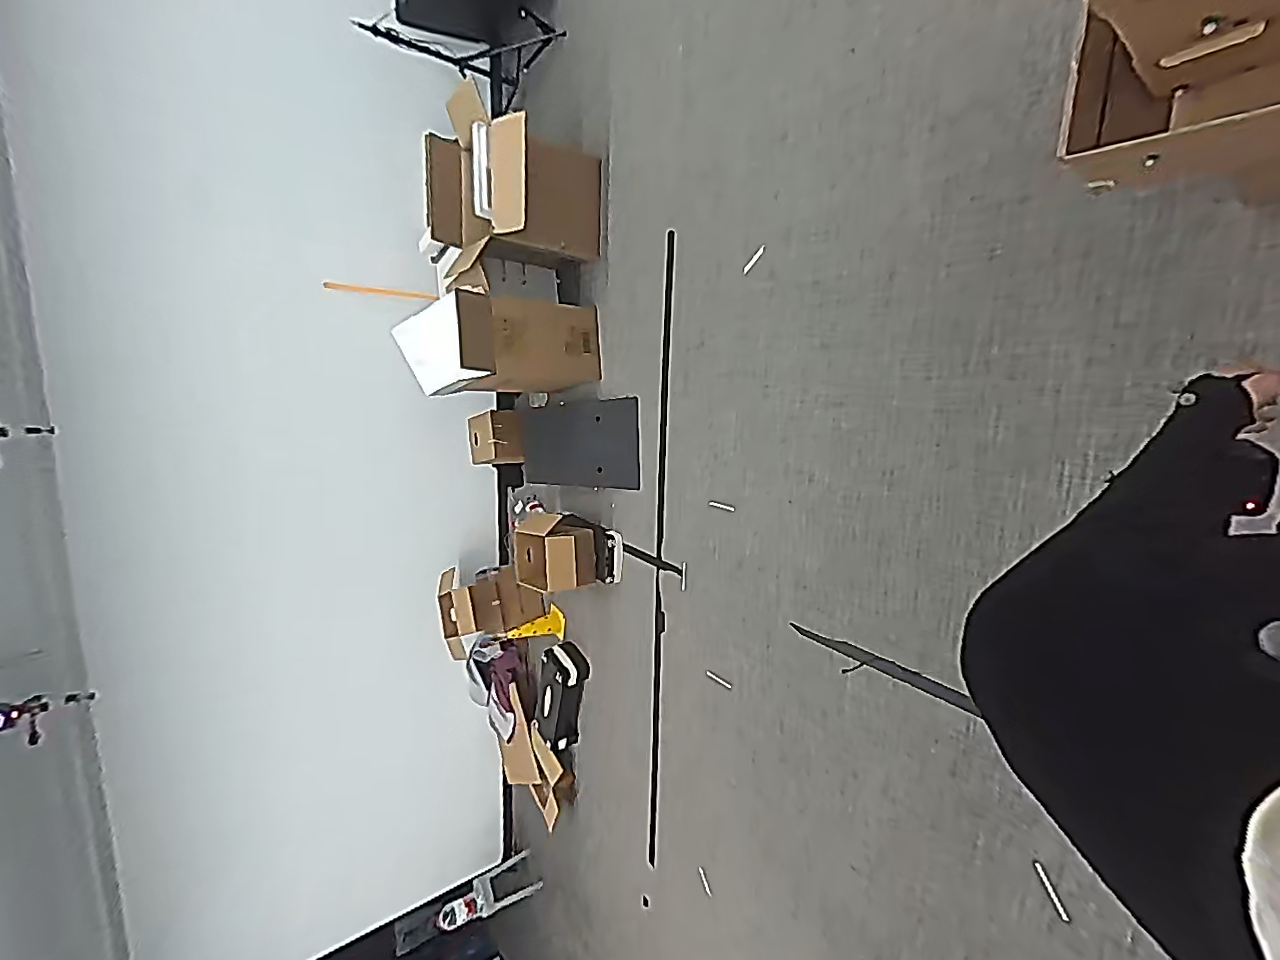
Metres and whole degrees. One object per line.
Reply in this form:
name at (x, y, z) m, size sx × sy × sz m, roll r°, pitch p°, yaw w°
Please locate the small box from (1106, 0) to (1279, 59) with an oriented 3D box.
small box at (0.713, -0.678, 0.666) m, size 0.168 × 0.176 × 0.179 m, roll 12°, pitch 104°, yaw 53°
